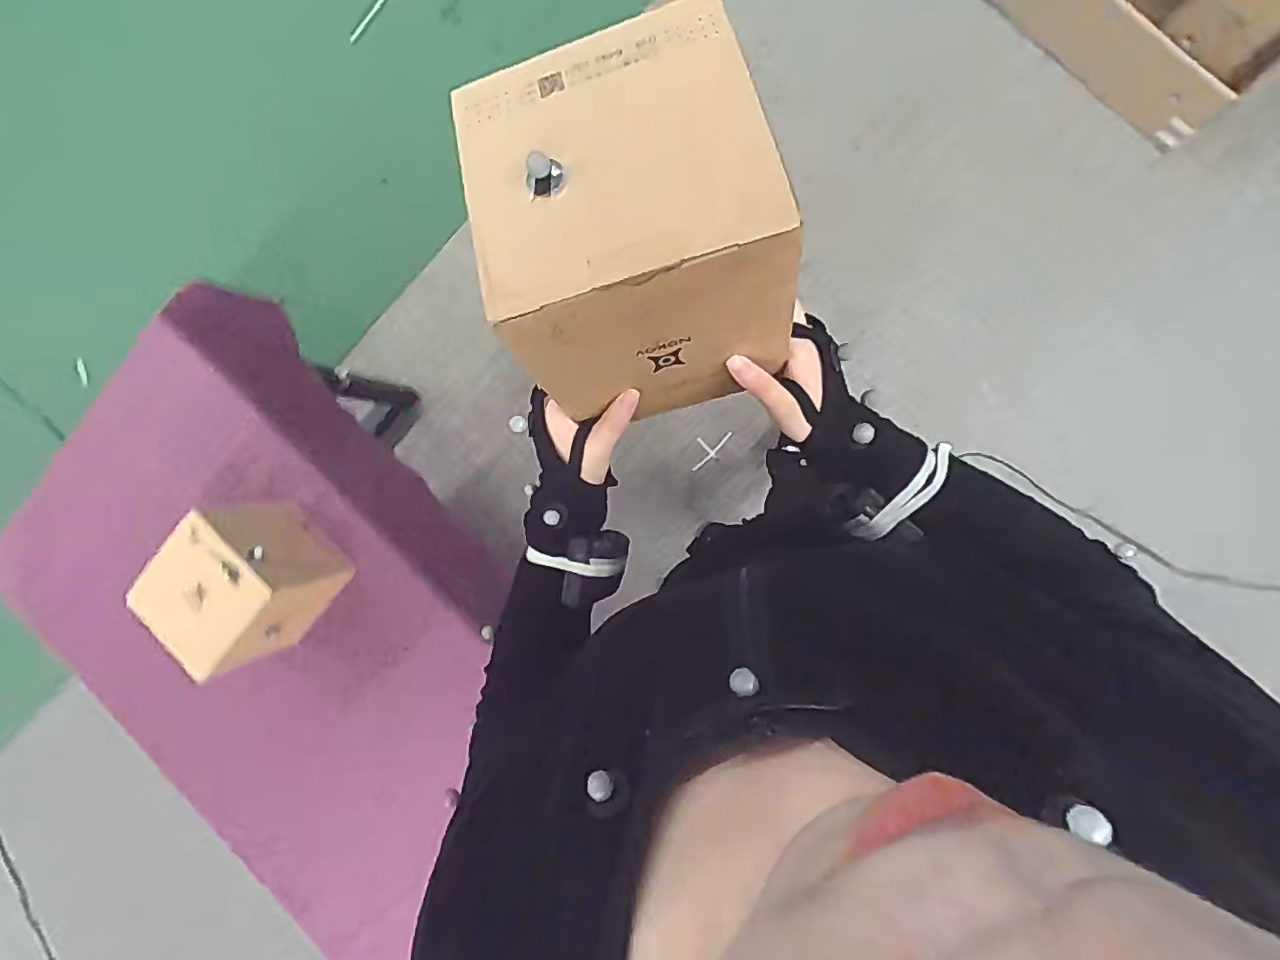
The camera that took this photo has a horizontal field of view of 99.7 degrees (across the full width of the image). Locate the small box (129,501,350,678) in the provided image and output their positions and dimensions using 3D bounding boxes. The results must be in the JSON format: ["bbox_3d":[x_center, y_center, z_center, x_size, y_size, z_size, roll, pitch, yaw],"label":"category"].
[{"bbox_3d":[-0.585,0.152,0.811,0.168,0.176,0.179,43,99,4],"label":"small box"}]

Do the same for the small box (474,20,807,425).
[{"bbox_3d":[0.002,-0.161,0.371,0.168,0.179,0.176,-13,74,8],"label":"small box"}]
